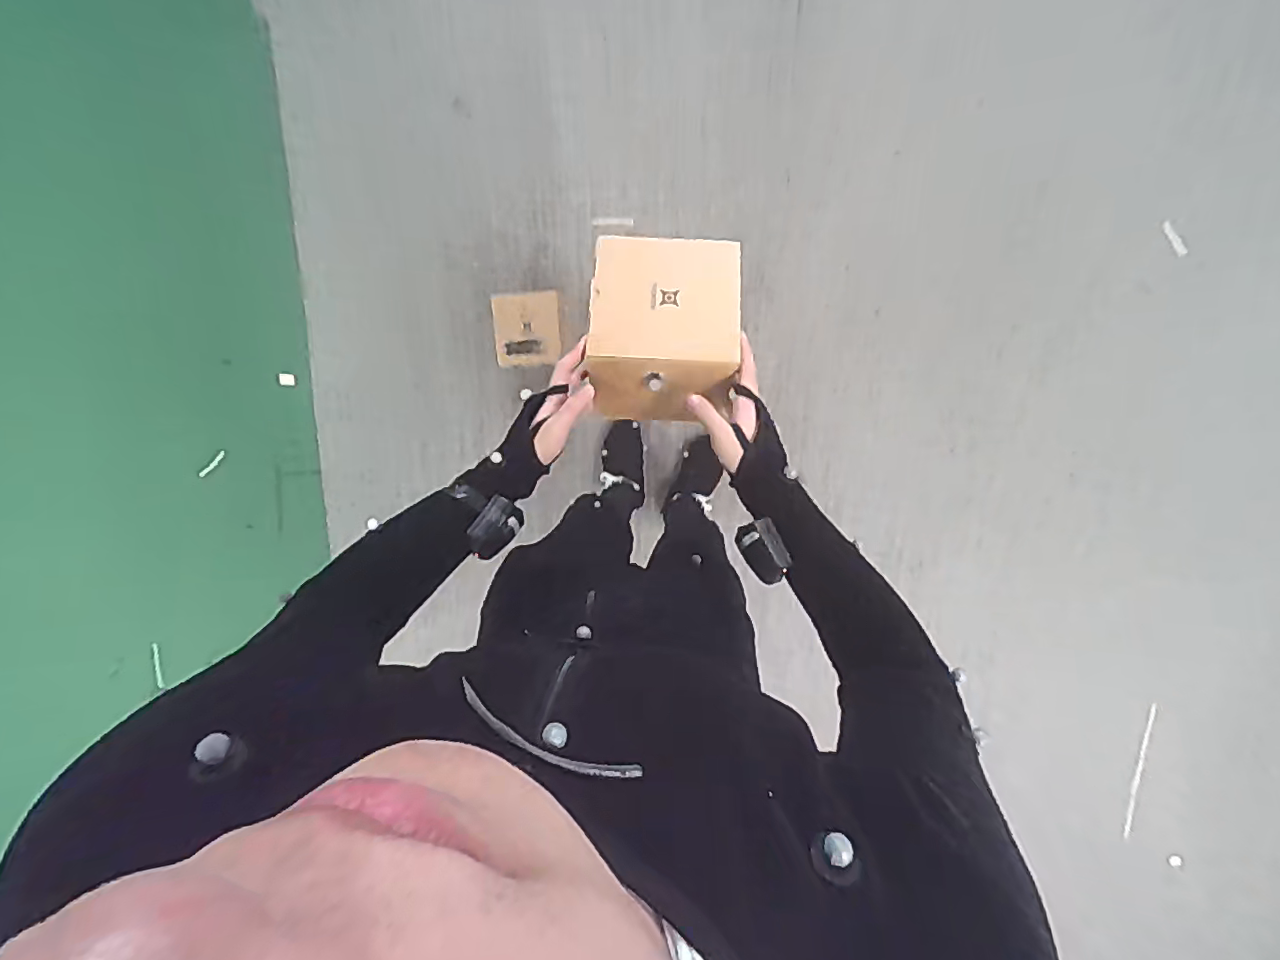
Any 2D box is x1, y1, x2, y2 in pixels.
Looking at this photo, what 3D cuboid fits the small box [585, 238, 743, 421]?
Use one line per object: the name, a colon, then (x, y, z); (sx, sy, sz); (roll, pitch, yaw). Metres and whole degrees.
small box: (0.031, -0.183, 0.697); (0.179, 0.176, 0.168); (3, 73, 2)
